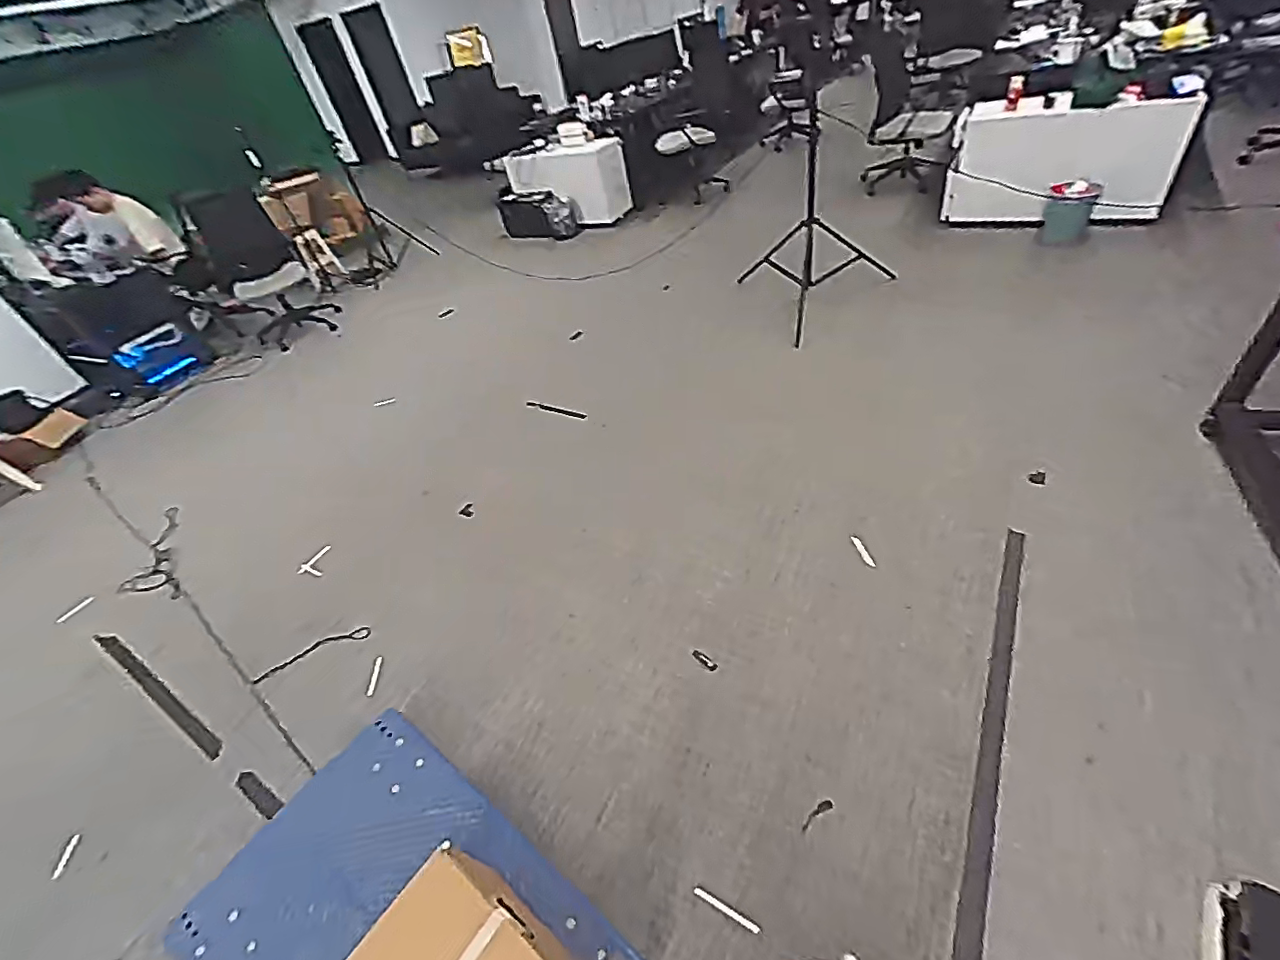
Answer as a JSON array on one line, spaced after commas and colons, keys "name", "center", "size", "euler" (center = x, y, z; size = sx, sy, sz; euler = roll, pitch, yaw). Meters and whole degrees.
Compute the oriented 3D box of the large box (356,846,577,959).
[{"name": "large box", "center": [-0.314, 0.915, 0.870], "size": [0.320, 0.320, 0.408], "euler": [27, 55, 27]}]
